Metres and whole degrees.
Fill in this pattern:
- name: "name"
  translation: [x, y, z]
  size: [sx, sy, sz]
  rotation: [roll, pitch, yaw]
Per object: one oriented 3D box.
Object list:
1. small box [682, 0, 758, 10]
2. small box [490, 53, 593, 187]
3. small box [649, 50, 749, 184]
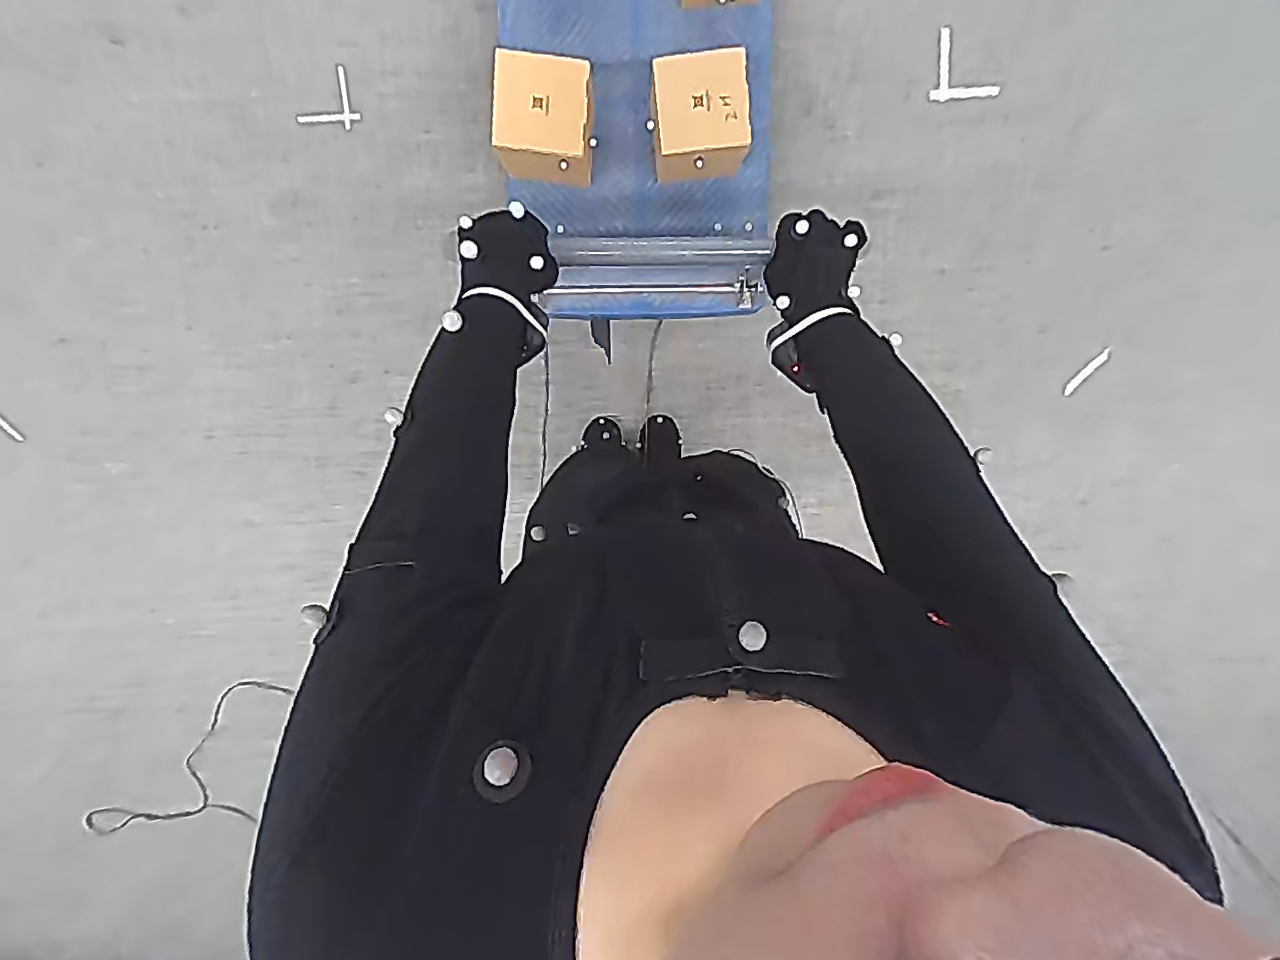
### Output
- name: "small box"
  translation: [0.160, -1.047, 1.025]
  size: [0.168, 0.176, 0.179]
  rotation: [-4, 102, 1]
- name: "small box"
  translation: [-0.192, -0.710, 1.086]
  size: [0.179, 0.176, 0.168]
  rotation: [5, 100, -3]
- name: "small box"
  translation: [0.112, -0.717, 1.088]
  size: [0.179, 0.176, 0.168]
  rotation: [-7, 101, 1]
